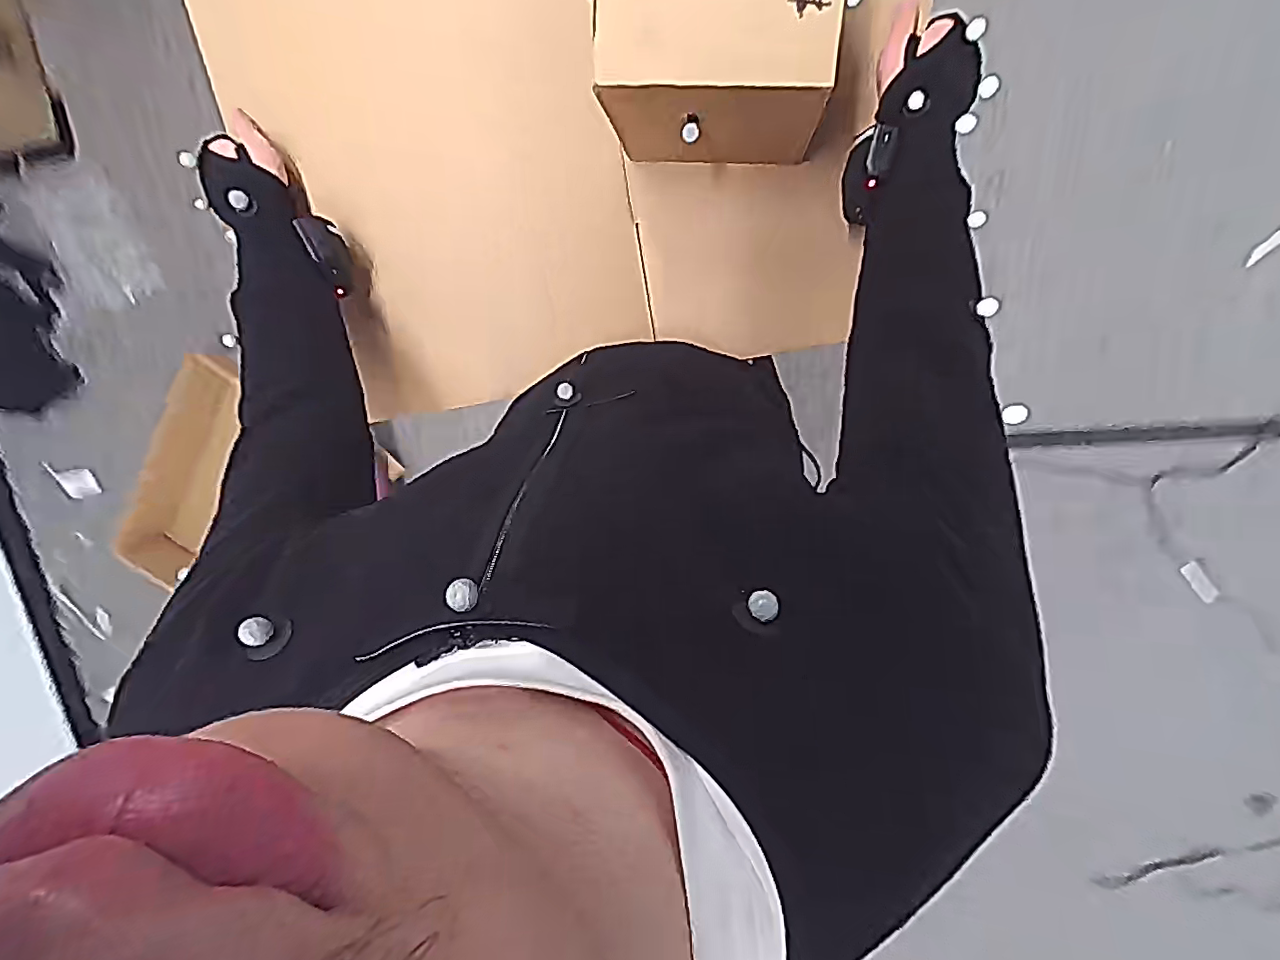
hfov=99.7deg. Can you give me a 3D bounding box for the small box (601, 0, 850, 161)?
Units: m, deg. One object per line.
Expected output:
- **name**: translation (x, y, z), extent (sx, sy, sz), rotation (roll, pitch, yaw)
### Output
- **small box**: translation (0.076, -0.385, 0.452), extent (0.179, 0.176, 0.168), rotation (7, 105, 8)
